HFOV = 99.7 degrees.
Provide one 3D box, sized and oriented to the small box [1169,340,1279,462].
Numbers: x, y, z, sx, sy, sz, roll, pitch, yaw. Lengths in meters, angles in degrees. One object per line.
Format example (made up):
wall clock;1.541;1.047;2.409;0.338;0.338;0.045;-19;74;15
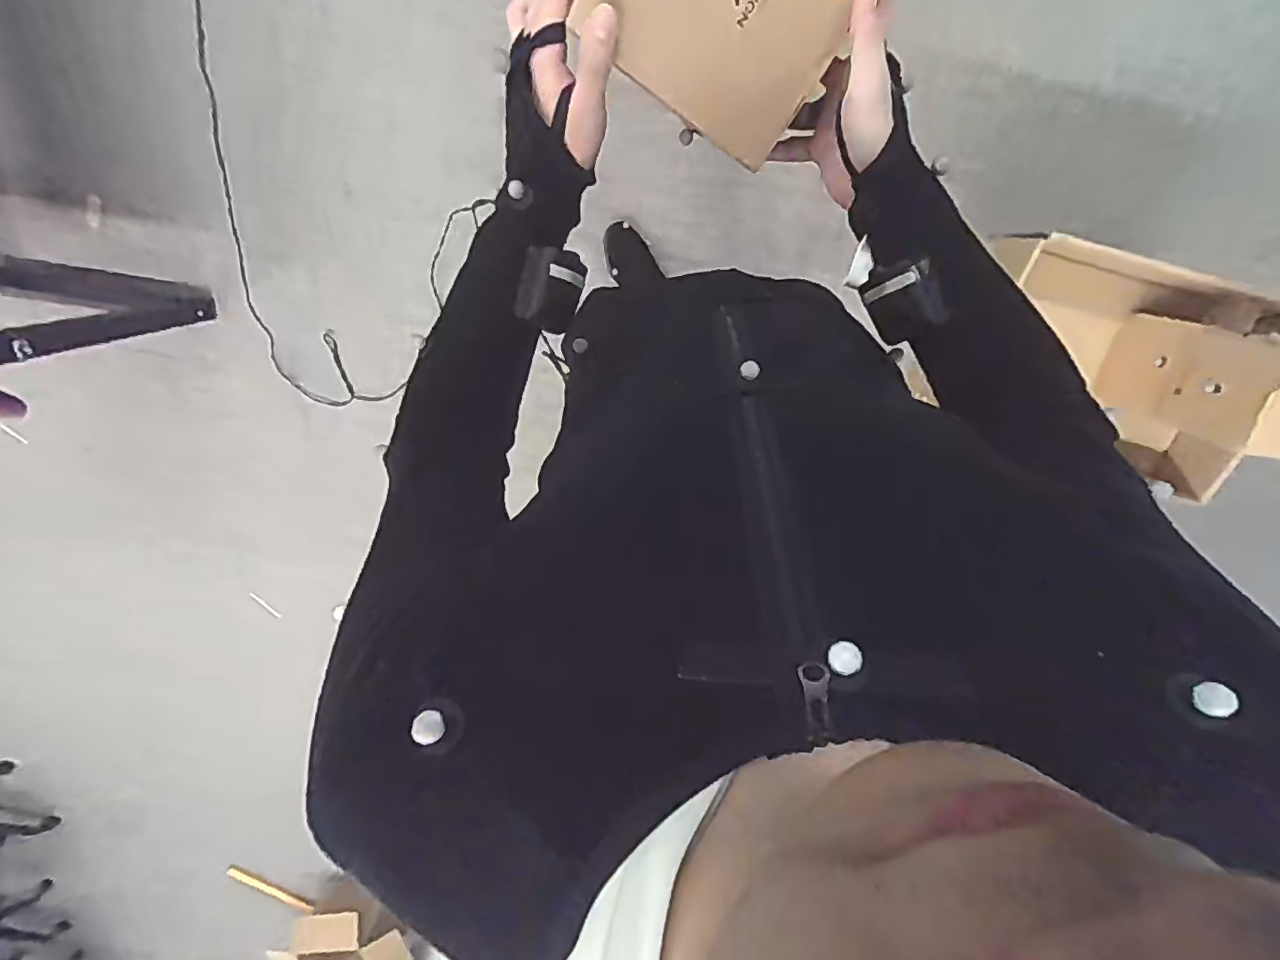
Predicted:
small box;1.060;-0.129;0.897;0.179;0.176;0.168;8;115;-2
